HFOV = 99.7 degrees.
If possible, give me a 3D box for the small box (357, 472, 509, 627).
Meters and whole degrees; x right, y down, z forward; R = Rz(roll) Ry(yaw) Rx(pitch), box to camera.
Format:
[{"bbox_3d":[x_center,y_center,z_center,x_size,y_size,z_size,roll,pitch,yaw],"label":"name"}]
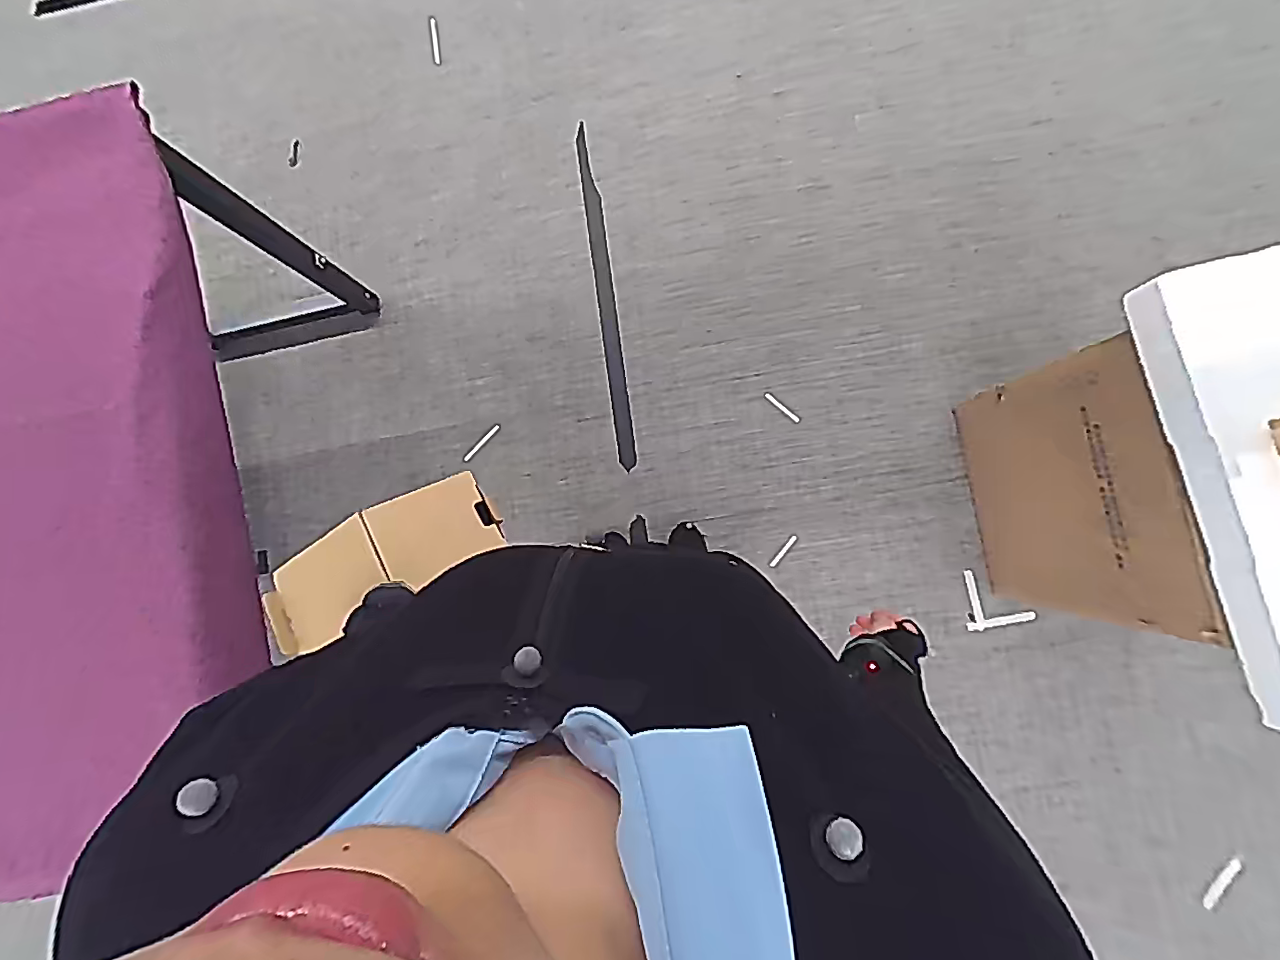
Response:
[{"bbox_3d":[-0.325,0.118,0.878,0.179,0.176,0.168,-24,72,-24],"label":"small box"}]
